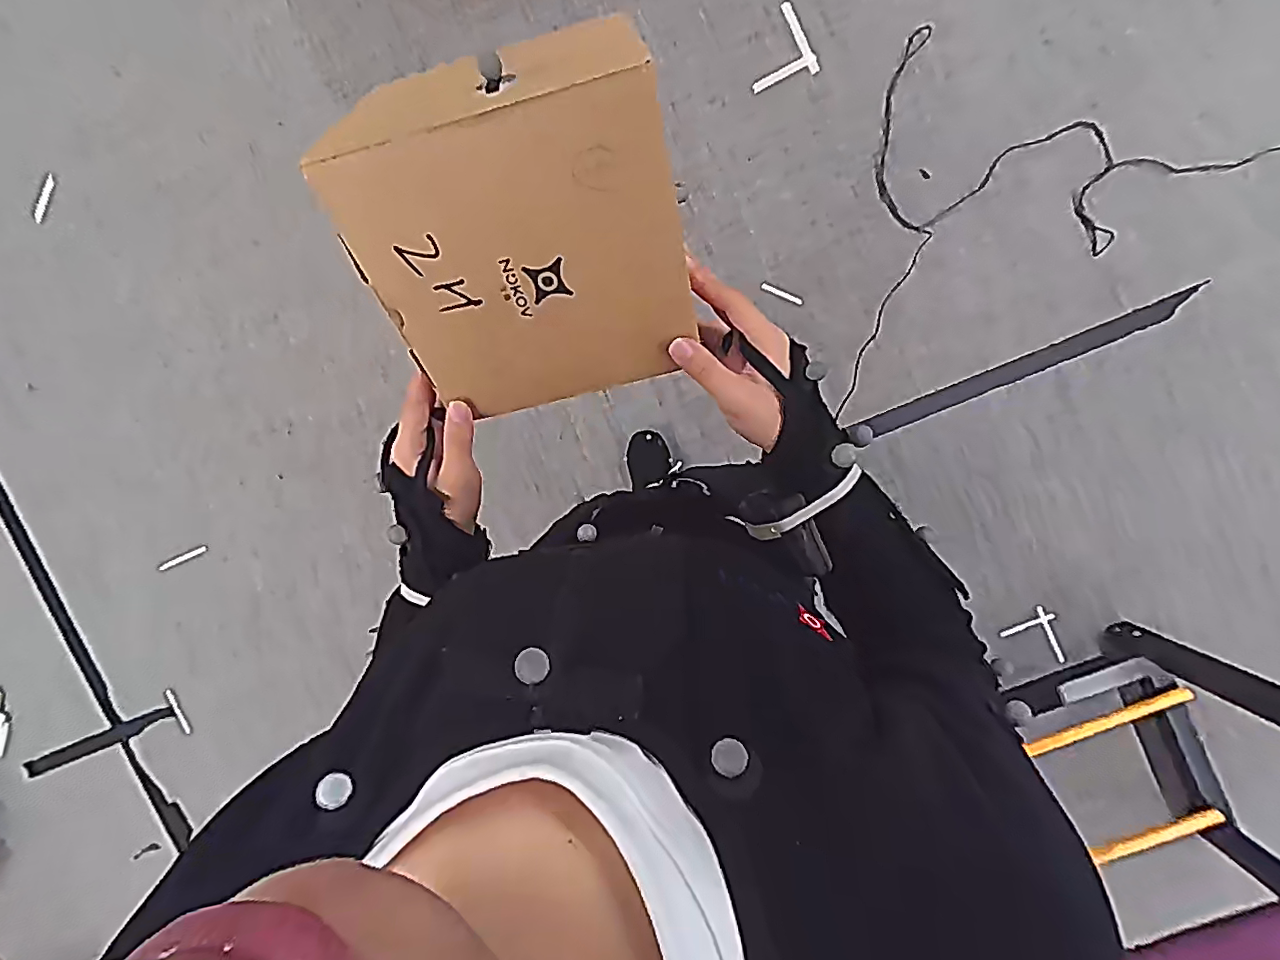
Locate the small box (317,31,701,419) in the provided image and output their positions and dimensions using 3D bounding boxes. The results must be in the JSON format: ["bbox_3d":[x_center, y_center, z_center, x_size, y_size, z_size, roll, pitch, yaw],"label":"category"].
[{"bbox_3d":[-0.067,-0.172,0.366,0.179,0.176,0.168,-12,136,5],"label":"small box"}]
